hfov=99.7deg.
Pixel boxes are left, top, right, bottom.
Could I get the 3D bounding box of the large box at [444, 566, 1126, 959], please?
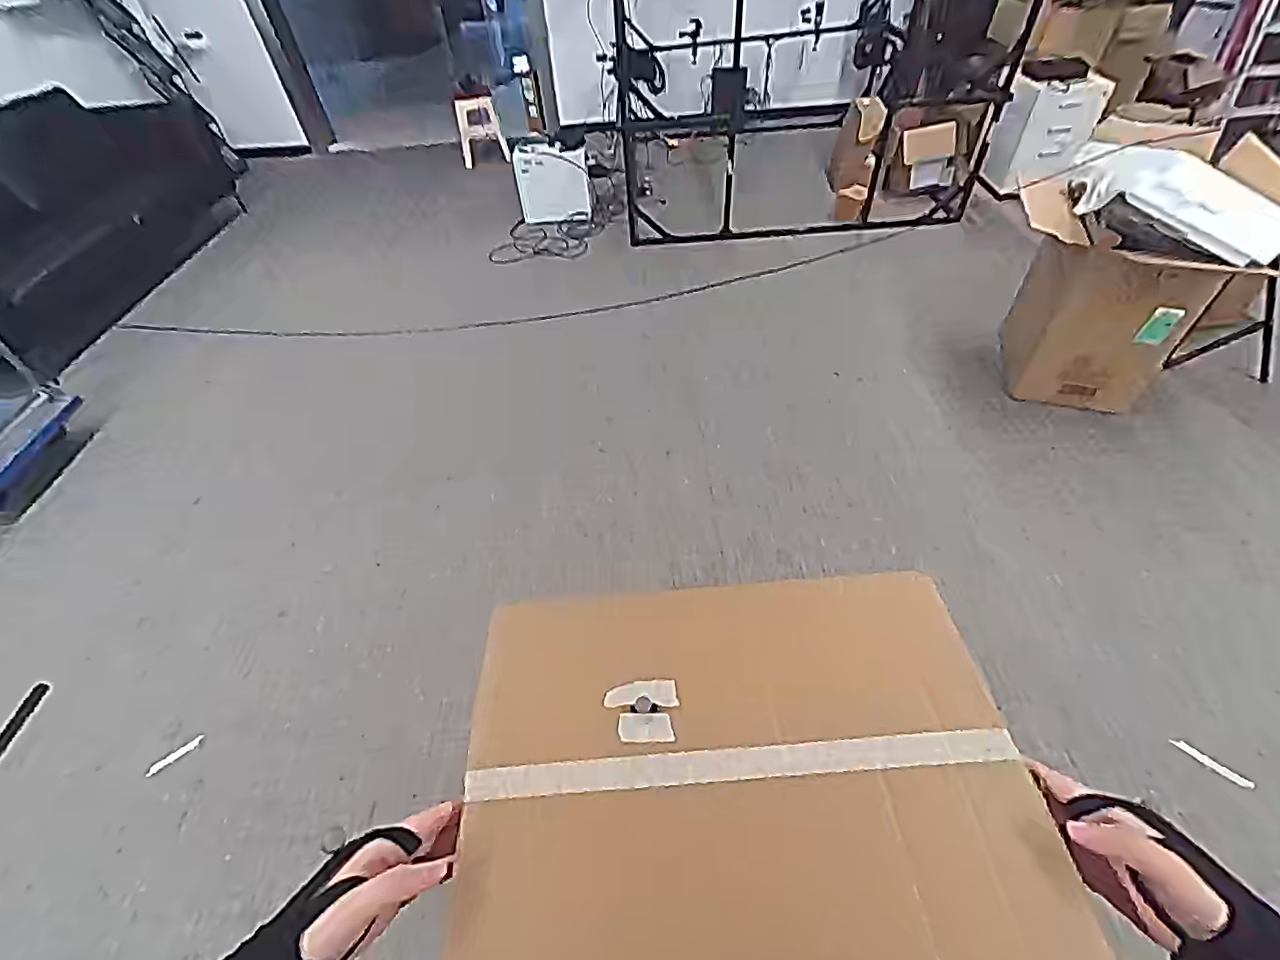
[{"bbox_3d":[0.086,0.308,0.495,0.408,0.320,0.320,-6,47,2],"label":"large box"}]
